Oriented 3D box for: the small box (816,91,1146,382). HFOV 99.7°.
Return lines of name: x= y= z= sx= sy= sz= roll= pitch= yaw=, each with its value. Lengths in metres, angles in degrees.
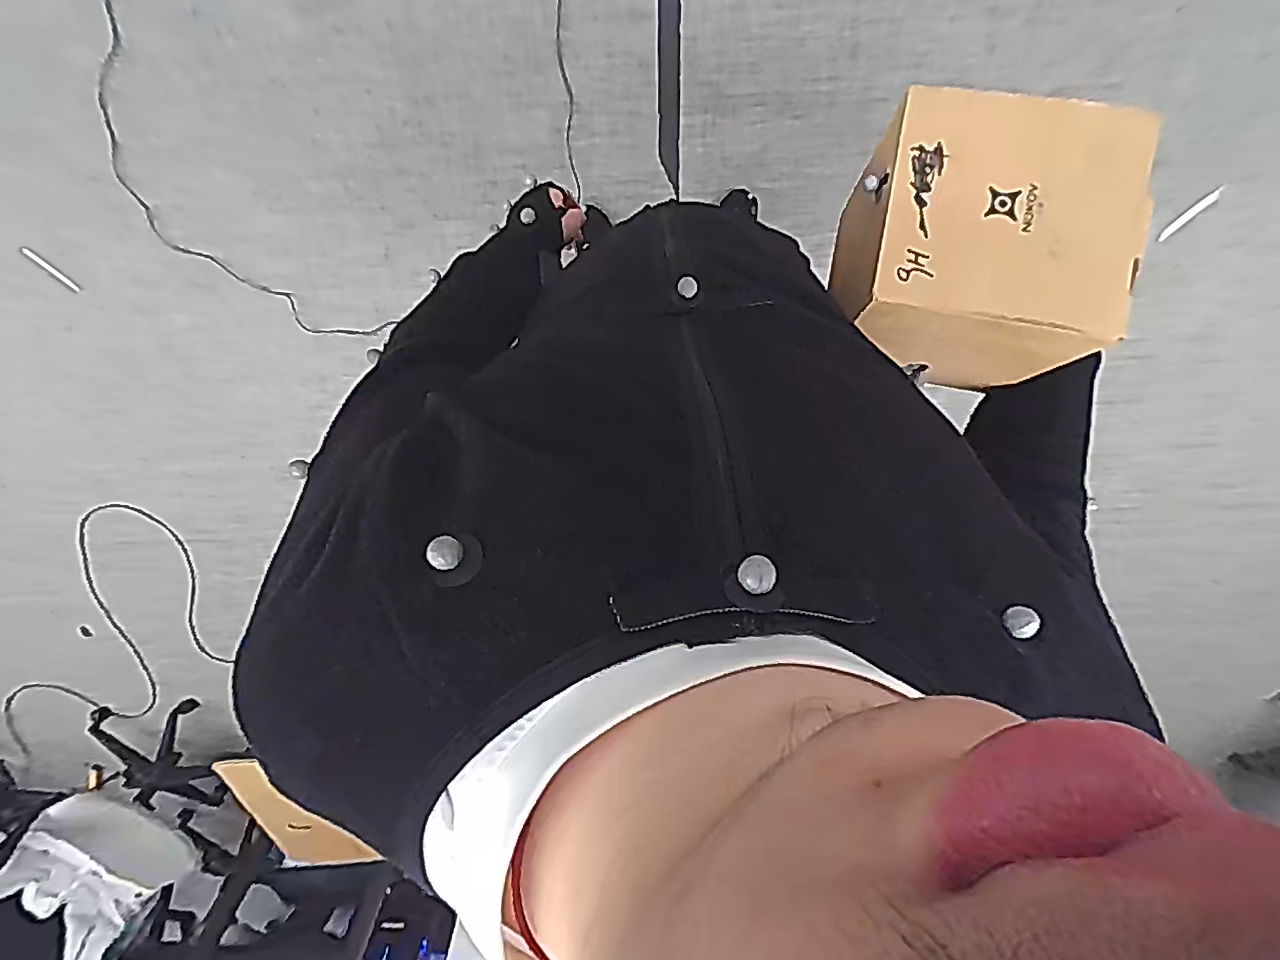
small box: x=0.276 y=-0.193 z=0.479 sx=0.179 sy=0.176 sz=0.168 roll=11 pitch=87 yaw=5
